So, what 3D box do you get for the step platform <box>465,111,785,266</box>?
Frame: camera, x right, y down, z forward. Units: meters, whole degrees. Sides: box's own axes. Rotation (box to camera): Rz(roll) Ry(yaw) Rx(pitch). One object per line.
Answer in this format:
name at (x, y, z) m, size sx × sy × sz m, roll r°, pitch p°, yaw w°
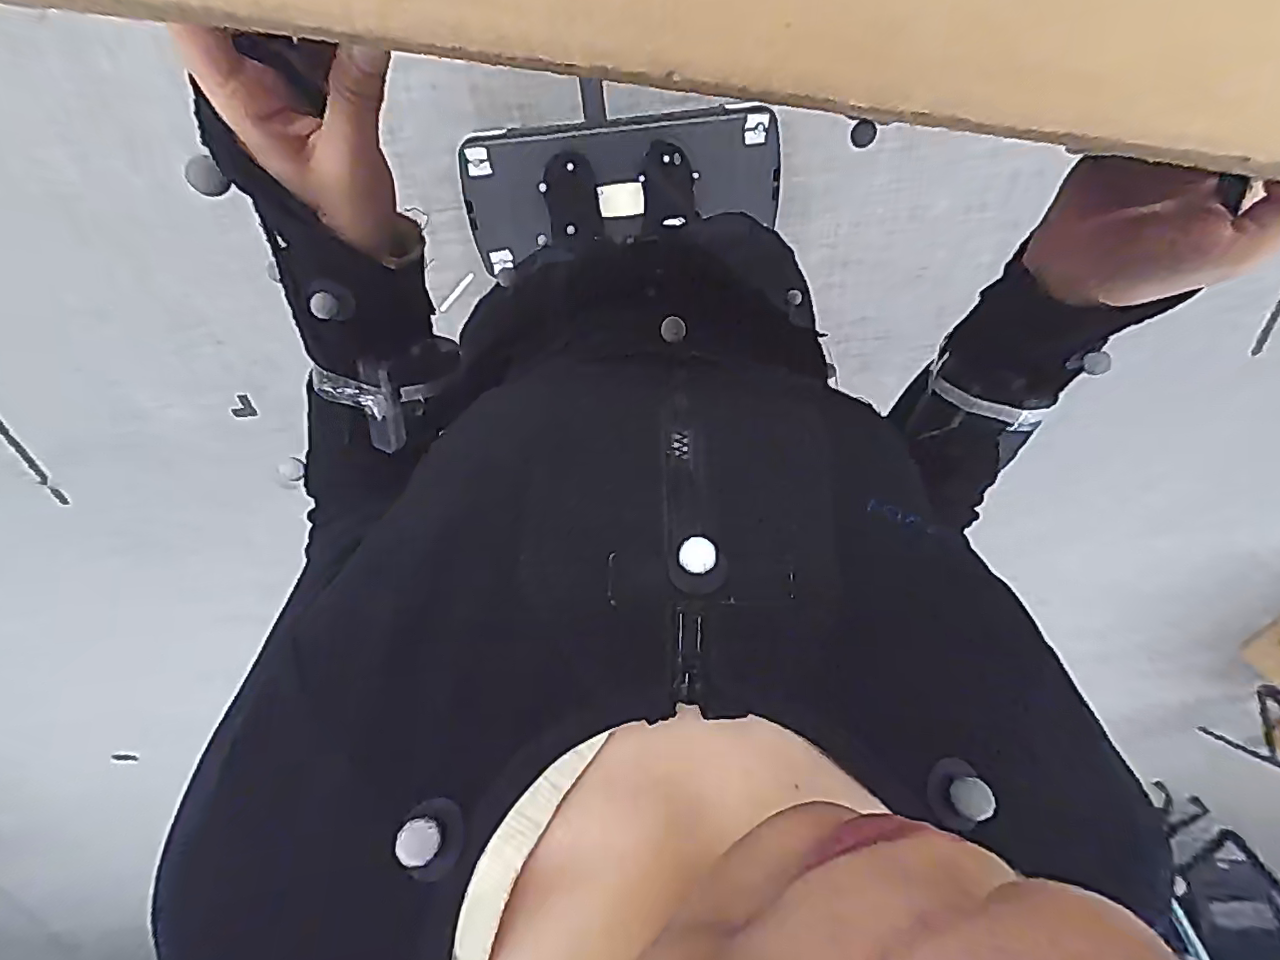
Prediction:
step platform at (-0.033, -0.646, 1.206) m, size 0.684 × 0.204 × 0.286 m, roll -2°, pitch 125°, yaw -2°
